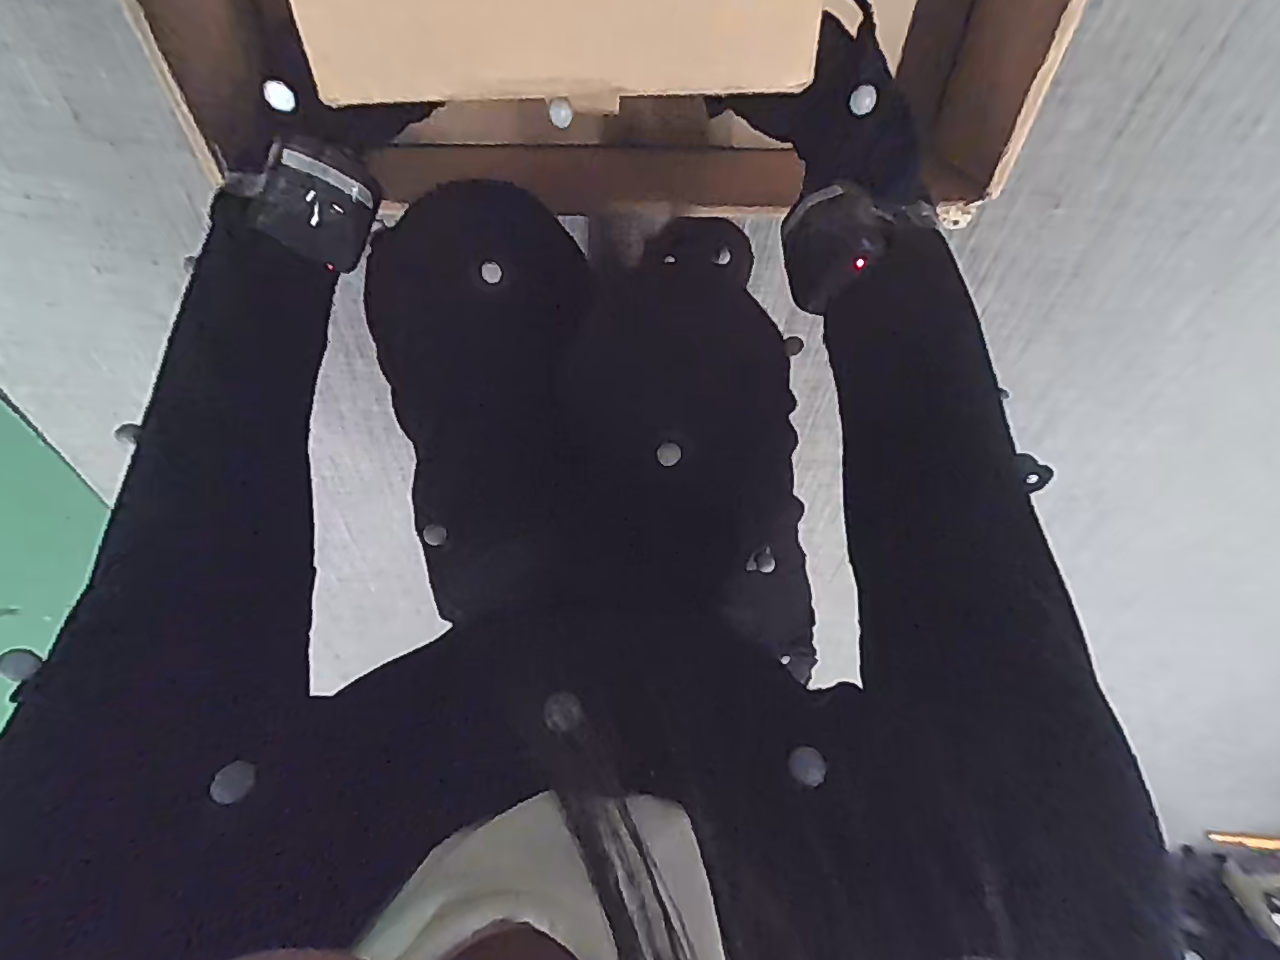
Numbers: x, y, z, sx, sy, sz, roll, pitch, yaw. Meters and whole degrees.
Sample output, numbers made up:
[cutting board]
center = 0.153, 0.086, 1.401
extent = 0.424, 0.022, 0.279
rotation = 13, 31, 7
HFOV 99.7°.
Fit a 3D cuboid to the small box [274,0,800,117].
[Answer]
[small box]
center = -0.035, -0.248, 0.208
extent = 0.179, 0.176, 0.168
rotation = -1, 128, -2
